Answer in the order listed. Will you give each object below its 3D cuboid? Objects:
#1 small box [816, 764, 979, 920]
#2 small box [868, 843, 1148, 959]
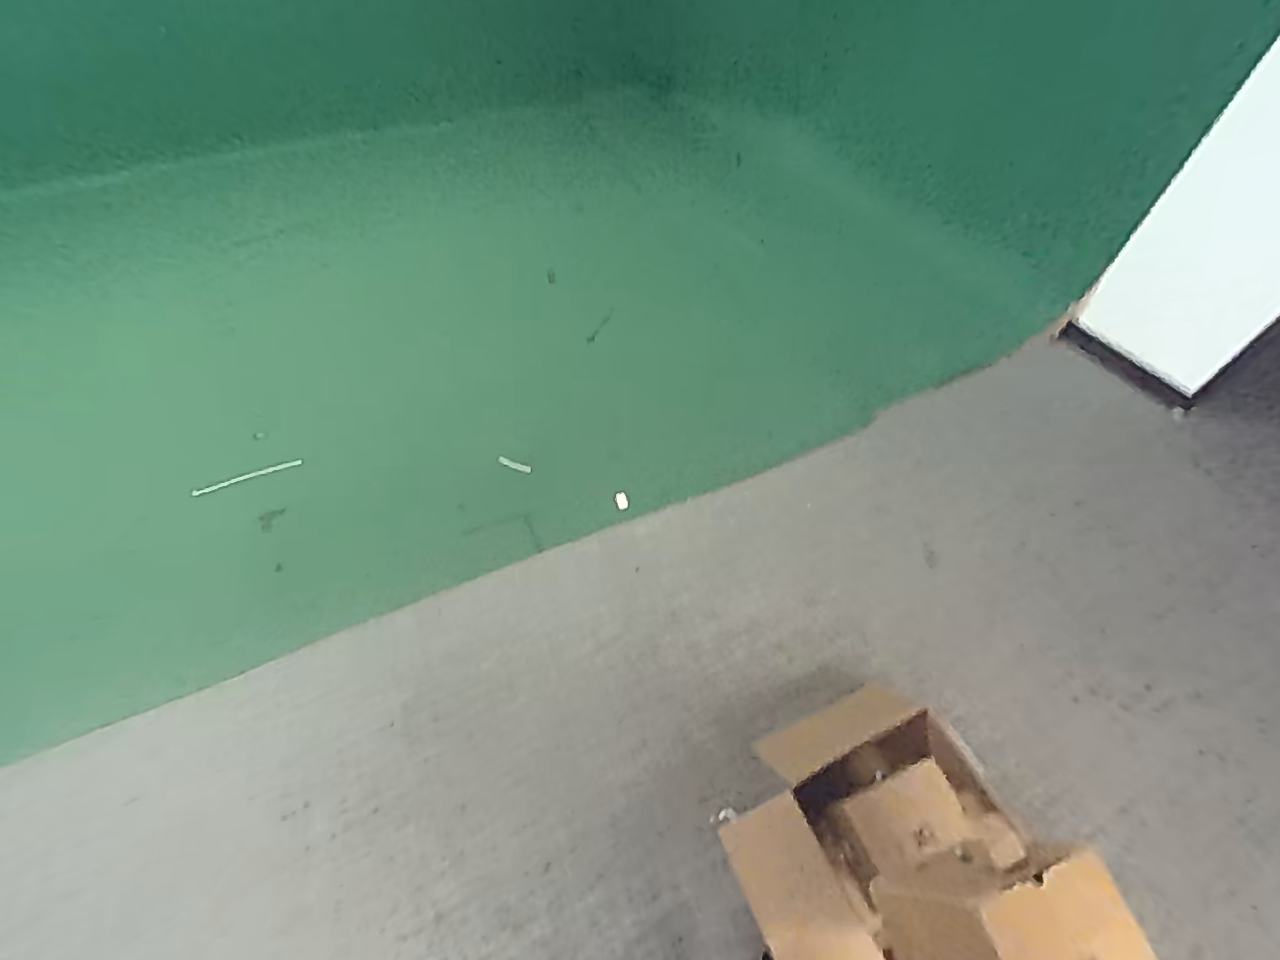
[{"bbox_3d":[0.422,0.597,0.894,0.179,0.176,0.168,-19,57,-12],"label":"small box"},{"bbox_3d":[0.373,0.491,0.545,0.168,0.176,0.179,-6,60,-20],"label":"small box"}]
